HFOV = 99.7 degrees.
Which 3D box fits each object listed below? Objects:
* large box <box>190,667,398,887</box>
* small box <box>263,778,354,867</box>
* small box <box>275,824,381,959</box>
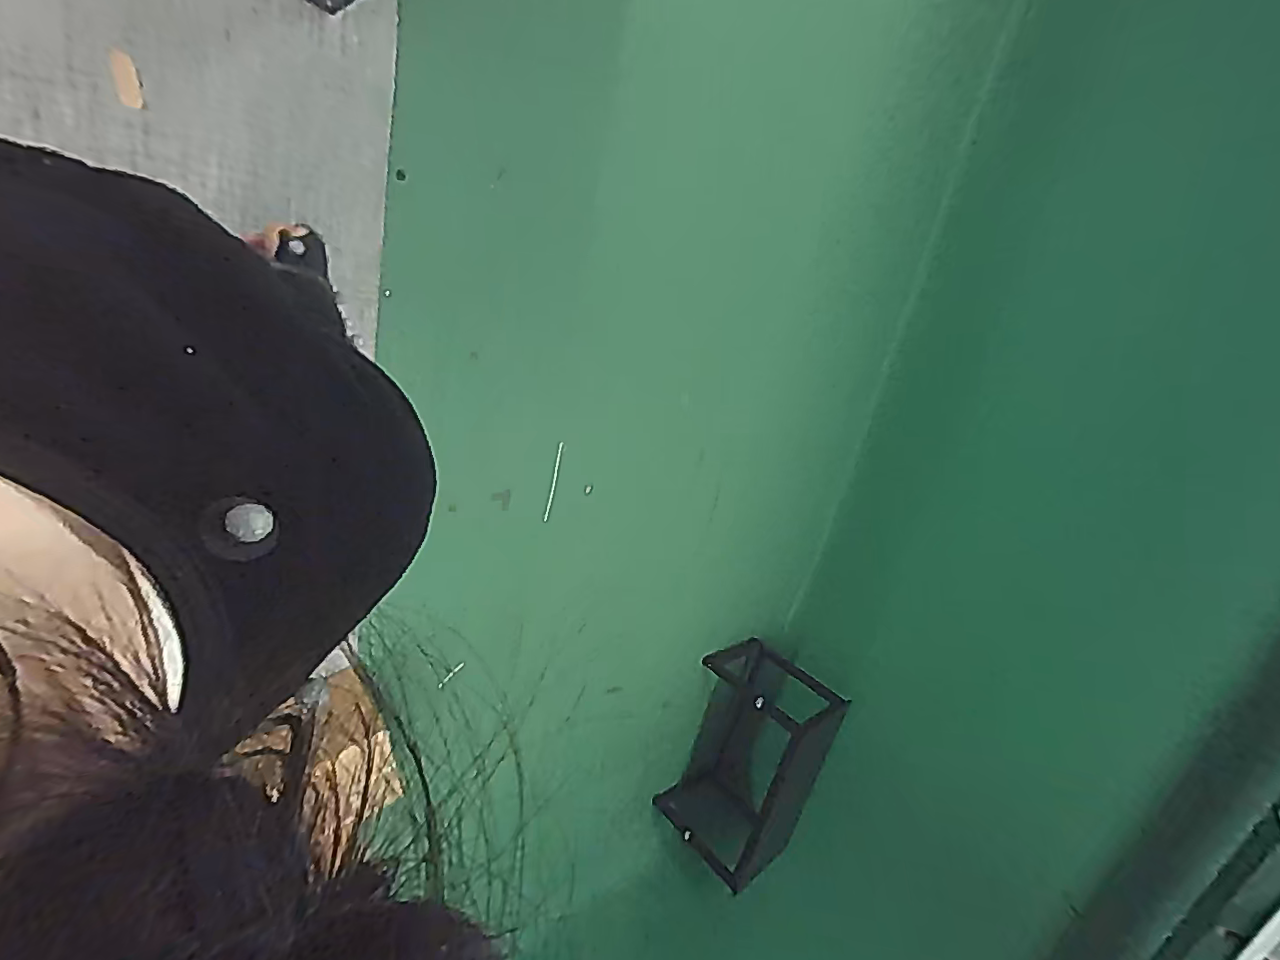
[{"bbox_3d":[-0.991,0.834,1.573,0.408,0.320,0.320,-22,128,-39],"label":"large box"},{"bbox_3d":[-0.843,0.904,1.386,0.168,0.176,0.179,-15,122,-40],"label":"small box"},{"bbox_3d":[-0.737,0.971,1.282,0.179,0.176,0.168,-14,121,-41],"label":"small box"}]
